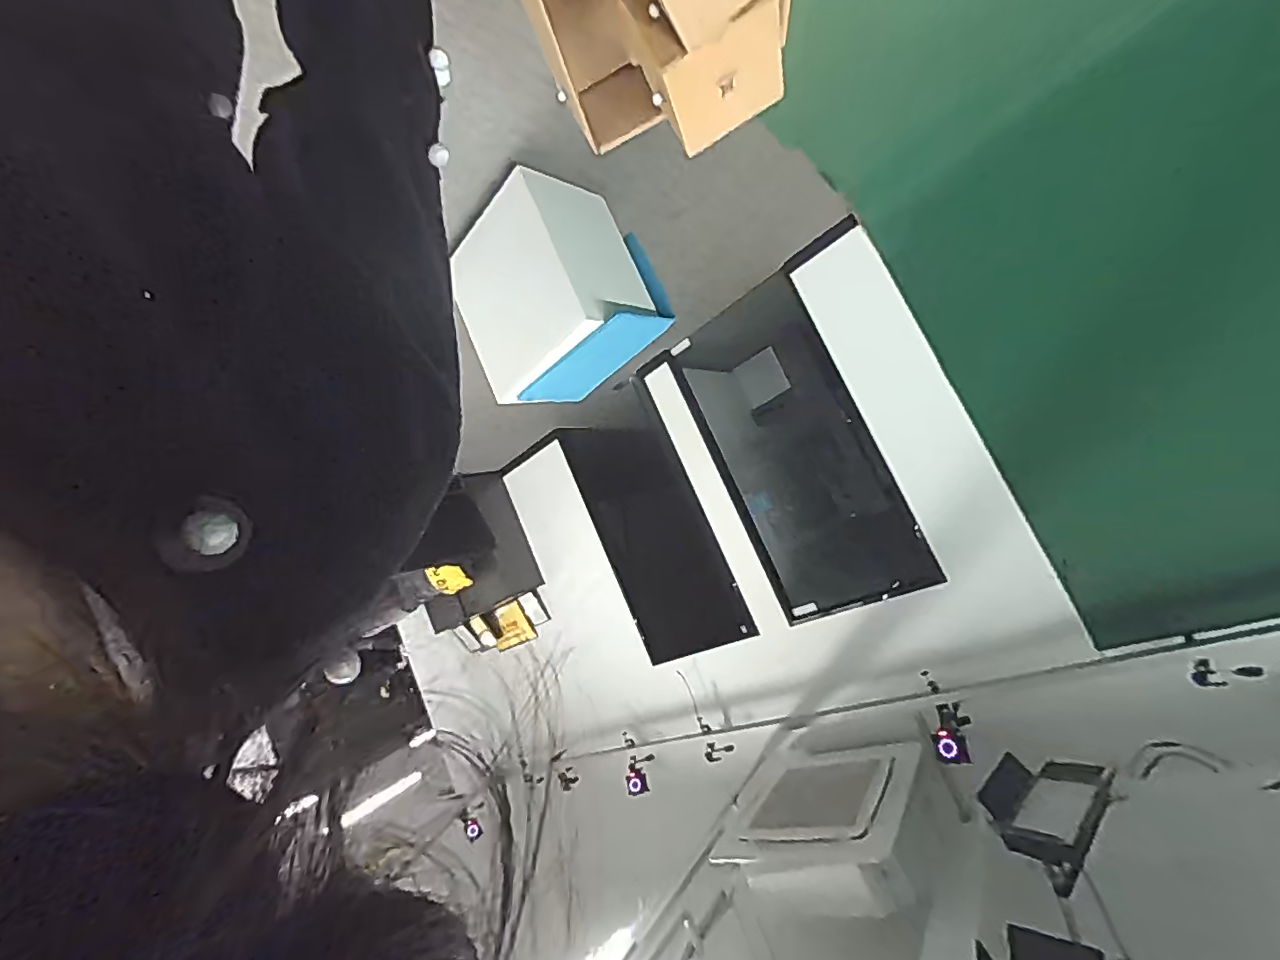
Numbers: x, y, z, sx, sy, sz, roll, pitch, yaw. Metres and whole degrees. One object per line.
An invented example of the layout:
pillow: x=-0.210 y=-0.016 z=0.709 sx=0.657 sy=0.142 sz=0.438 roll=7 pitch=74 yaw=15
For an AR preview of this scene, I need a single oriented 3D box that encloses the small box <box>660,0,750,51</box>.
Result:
small box: x=0.060 y=-0.642 z=0.583 sx=0.168 sy=0.176 sz=0.179 roll=-28 pitch=171 yaw=23
